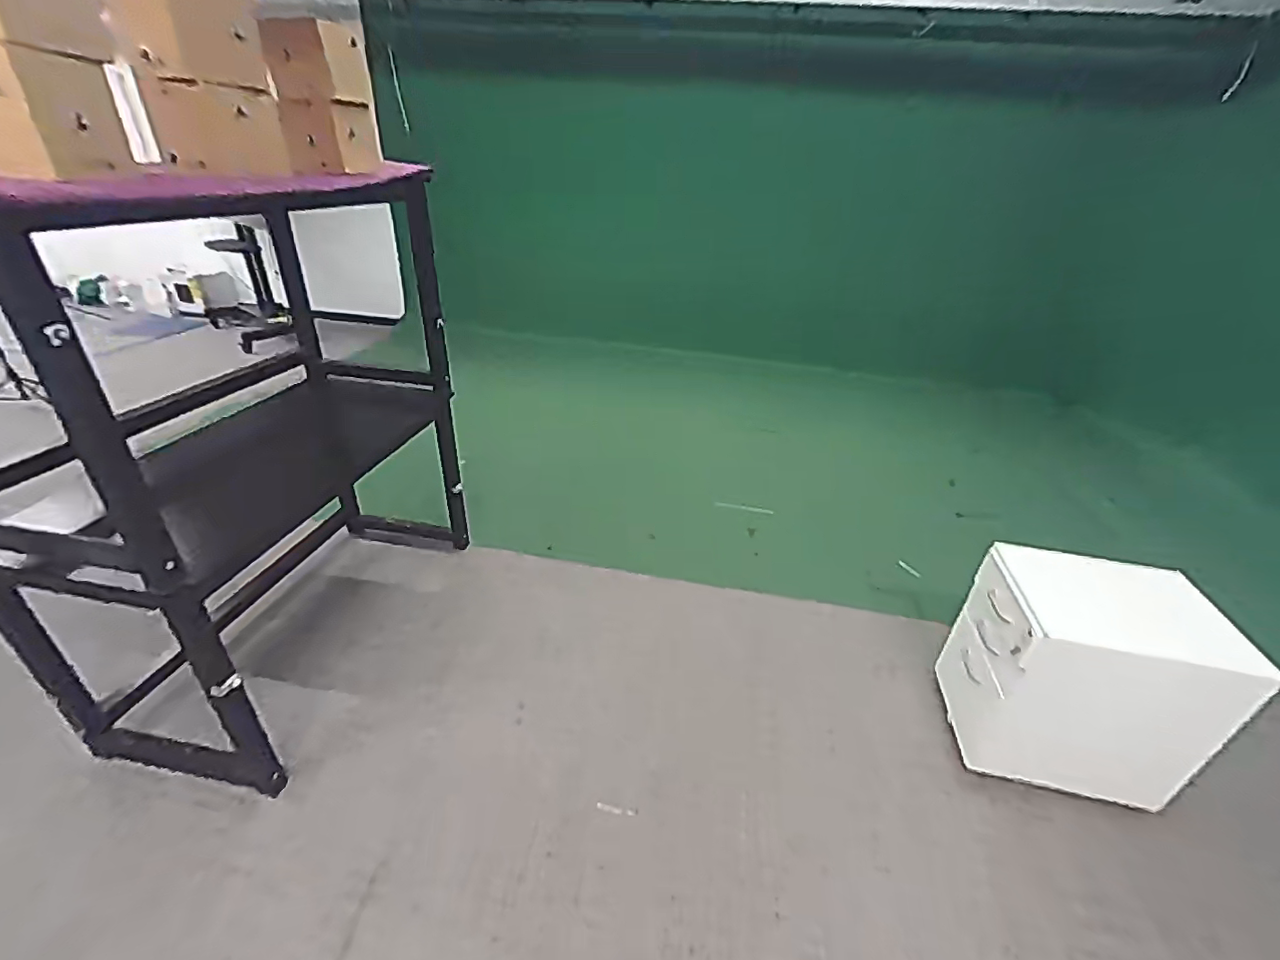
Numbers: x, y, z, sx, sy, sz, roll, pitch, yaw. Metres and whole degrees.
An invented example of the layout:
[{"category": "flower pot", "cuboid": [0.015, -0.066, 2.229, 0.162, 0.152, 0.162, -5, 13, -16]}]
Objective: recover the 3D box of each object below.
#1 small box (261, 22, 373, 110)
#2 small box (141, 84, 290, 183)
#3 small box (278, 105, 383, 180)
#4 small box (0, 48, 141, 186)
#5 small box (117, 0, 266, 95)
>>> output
[{"category": "small box", "cuboid": [-0.833, -1.073, 1.418, 0.168, 0.176, 0.179, 6, 31, 9]}, {"category": "small box", "cuboid": [-0.907, -0.747, 1.178, 0.168, 0.176, 0.179, 9, 30, 8]}, {"category": "small box", "cuboid": [-0.848, -0.934, 1.503, 0.168, 0.176, 0.179, 6, 32, 9]}, {"category": "small box", "cuboid": [-0.939, -0.552, 0.832, 0.179, 0.176, 0.168, 2, 29, -4]}, {"category": "small box", "cuboid": [-0.898, -0.885, 1.093, 0.168, 0.176, 0.179, 13, 32, 17]}]
